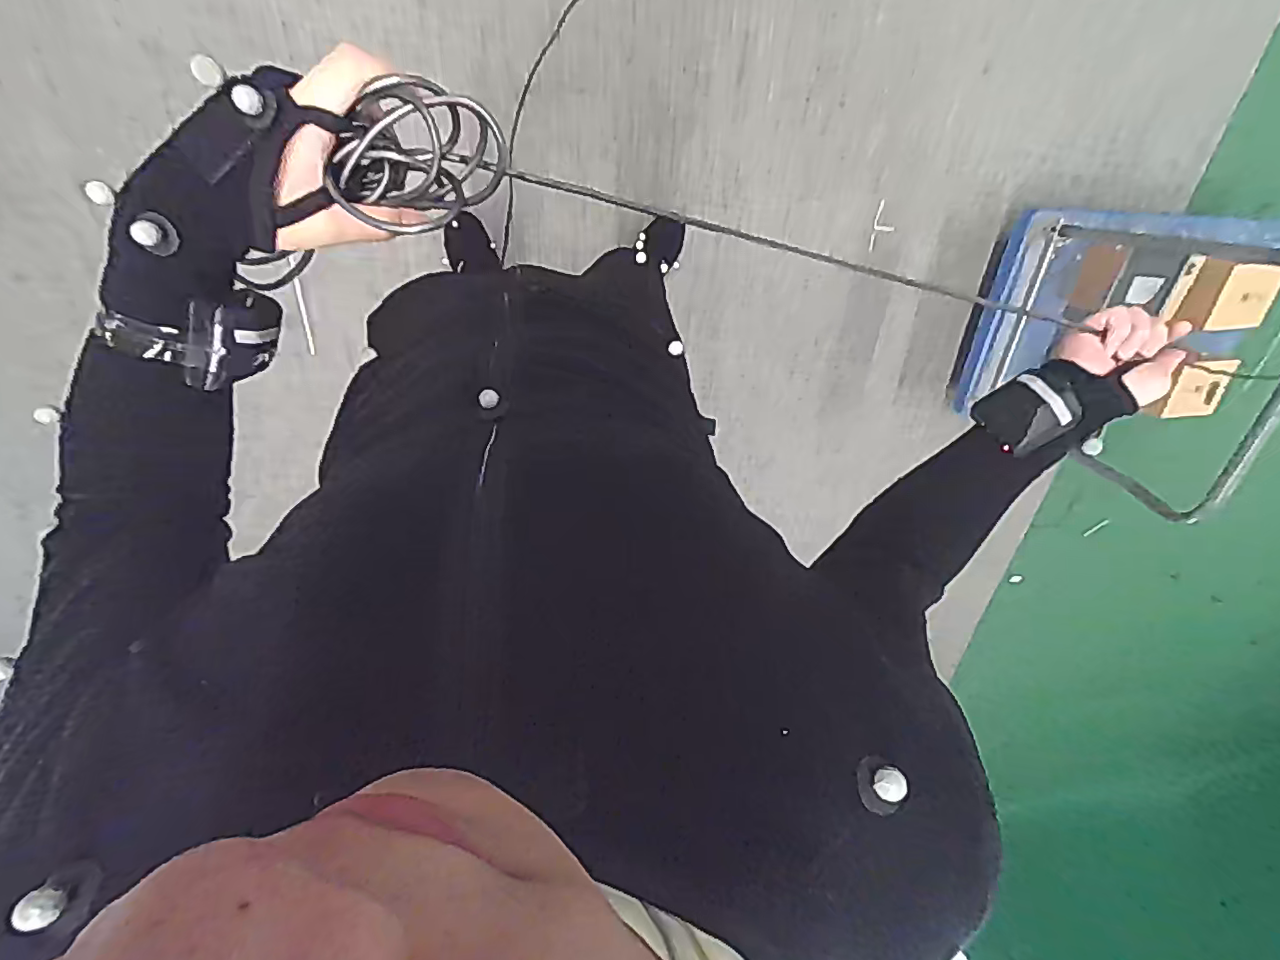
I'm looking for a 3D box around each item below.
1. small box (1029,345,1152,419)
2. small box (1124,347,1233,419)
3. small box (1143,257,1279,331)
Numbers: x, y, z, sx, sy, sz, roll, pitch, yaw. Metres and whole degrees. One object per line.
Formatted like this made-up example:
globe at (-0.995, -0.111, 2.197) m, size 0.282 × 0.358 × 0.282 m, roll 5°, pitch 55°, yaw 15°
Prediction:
small box at (1.286, -0.285, 1.556) m, size 0.179 × 0.176 × 0.168 m, roll 0°, pitch 119°, yaw -9°
small box at (1.552, -0.291, 1.599) m, size 0.179 × 0.176 × 0.168 m, roll -4°, pitch 119°, yaw -7°
small box at (1.549, -0.510, 1.475) m, size 0.179 × 0.176 × 0.168 m, roll -5°, pitch 121°, yaw -8°
